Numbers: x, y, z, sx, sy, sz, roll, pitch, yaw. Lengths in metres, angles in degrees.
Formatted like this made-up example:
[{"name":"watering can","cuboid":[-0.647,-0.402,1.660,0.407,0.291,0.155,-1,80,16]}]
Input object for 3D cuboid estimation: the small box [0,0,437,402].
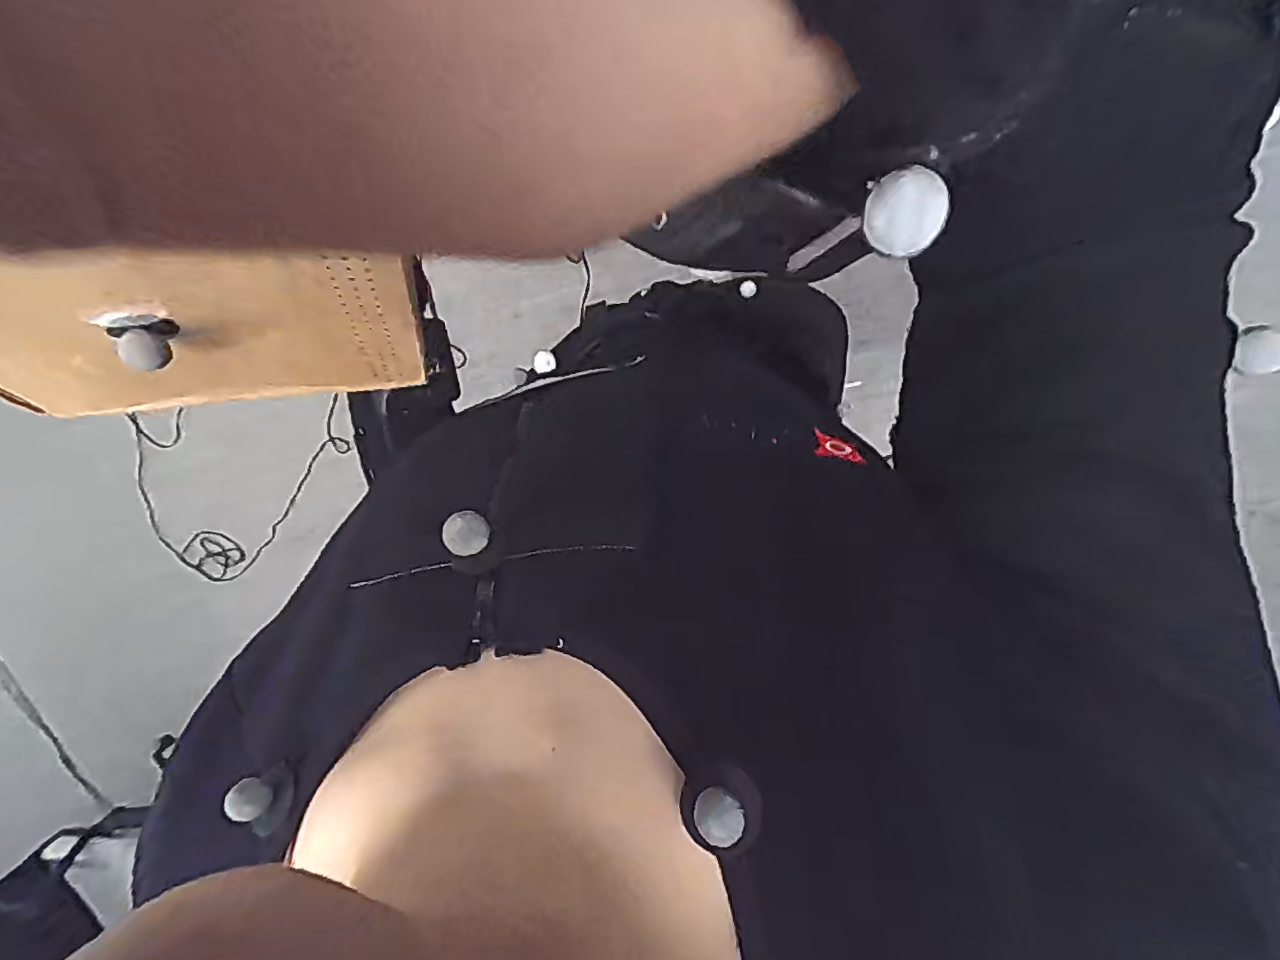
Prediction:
[{"name":"small box","cuboid":[-0.184,-0.143,0.220,0.176,0.179,0.168,-9,79,-18]}]
